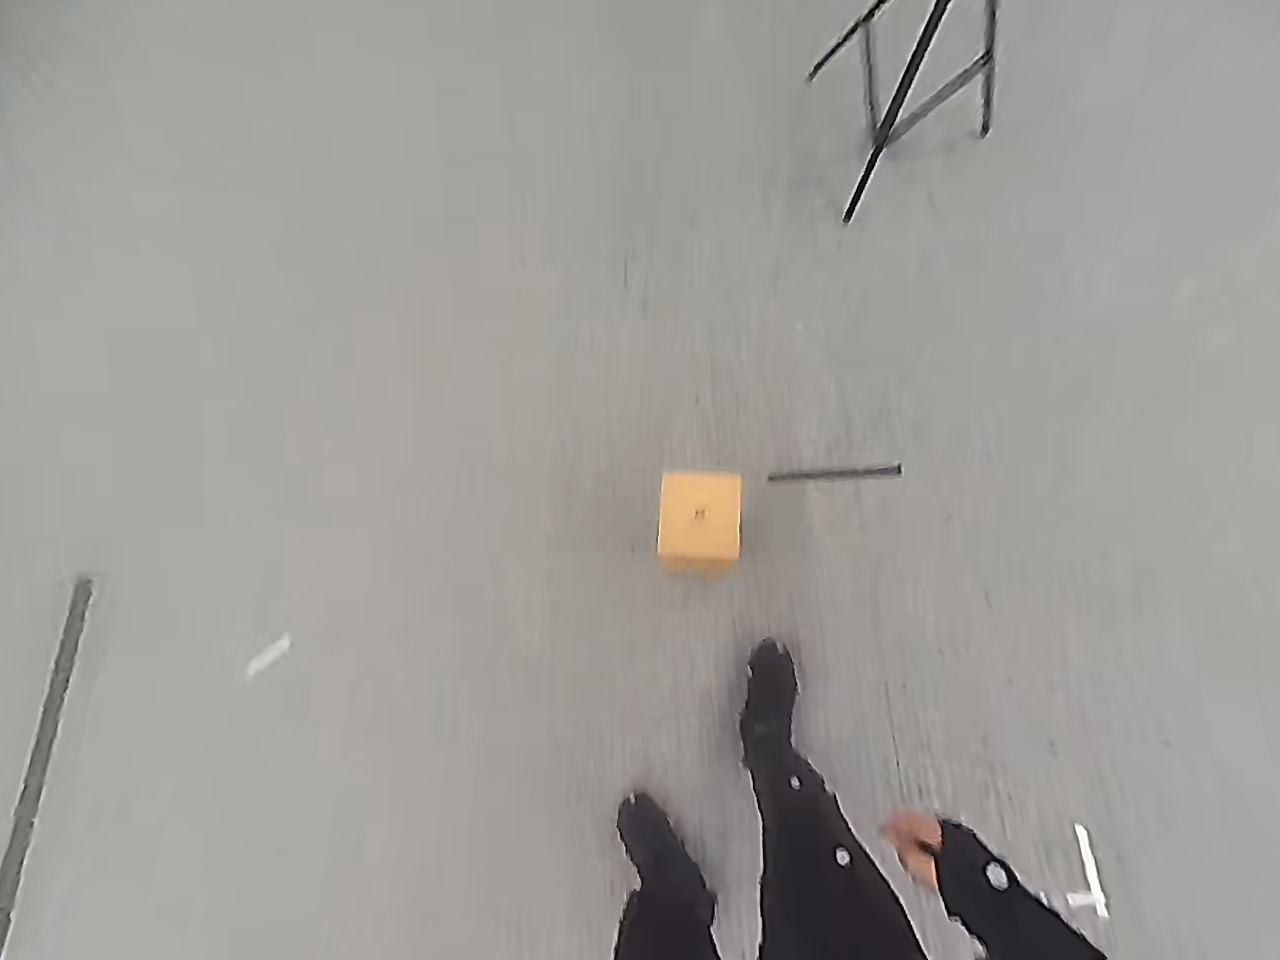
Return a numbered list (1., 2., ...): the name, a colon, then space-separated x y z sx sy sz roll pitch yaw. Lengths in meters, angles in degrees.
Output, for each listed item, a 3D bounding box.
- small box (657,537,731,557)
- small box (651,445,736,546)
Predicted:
1. small box: 0.124 0.086 1.301 0.168 0.176 0.179 0 74 2
2. small box: 0.109 0.037 1.147 0.168 0.176 0.179 3 75 3
